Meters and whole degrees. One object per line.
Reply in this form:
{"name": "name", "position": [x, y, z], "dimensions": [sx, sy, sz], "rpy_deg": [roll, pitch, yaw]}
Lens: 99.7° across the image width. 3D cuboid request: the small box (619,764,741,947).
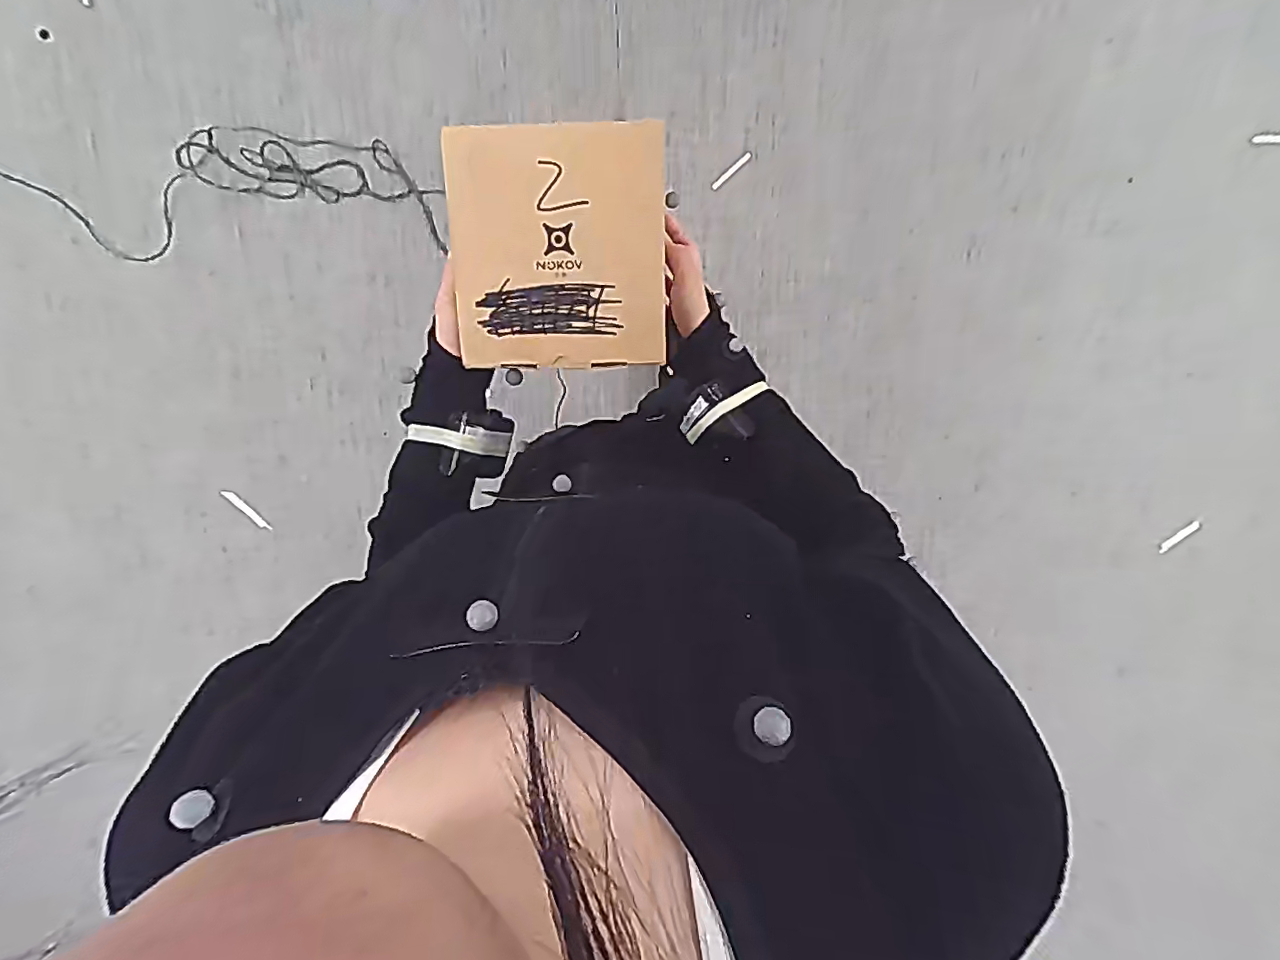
{"name": "small box", "position": [0.054, 0.578, 0.851], "dimensions": [0.168, 0.176, 0.179], "rpy_deg": [4, 98, -2]}
